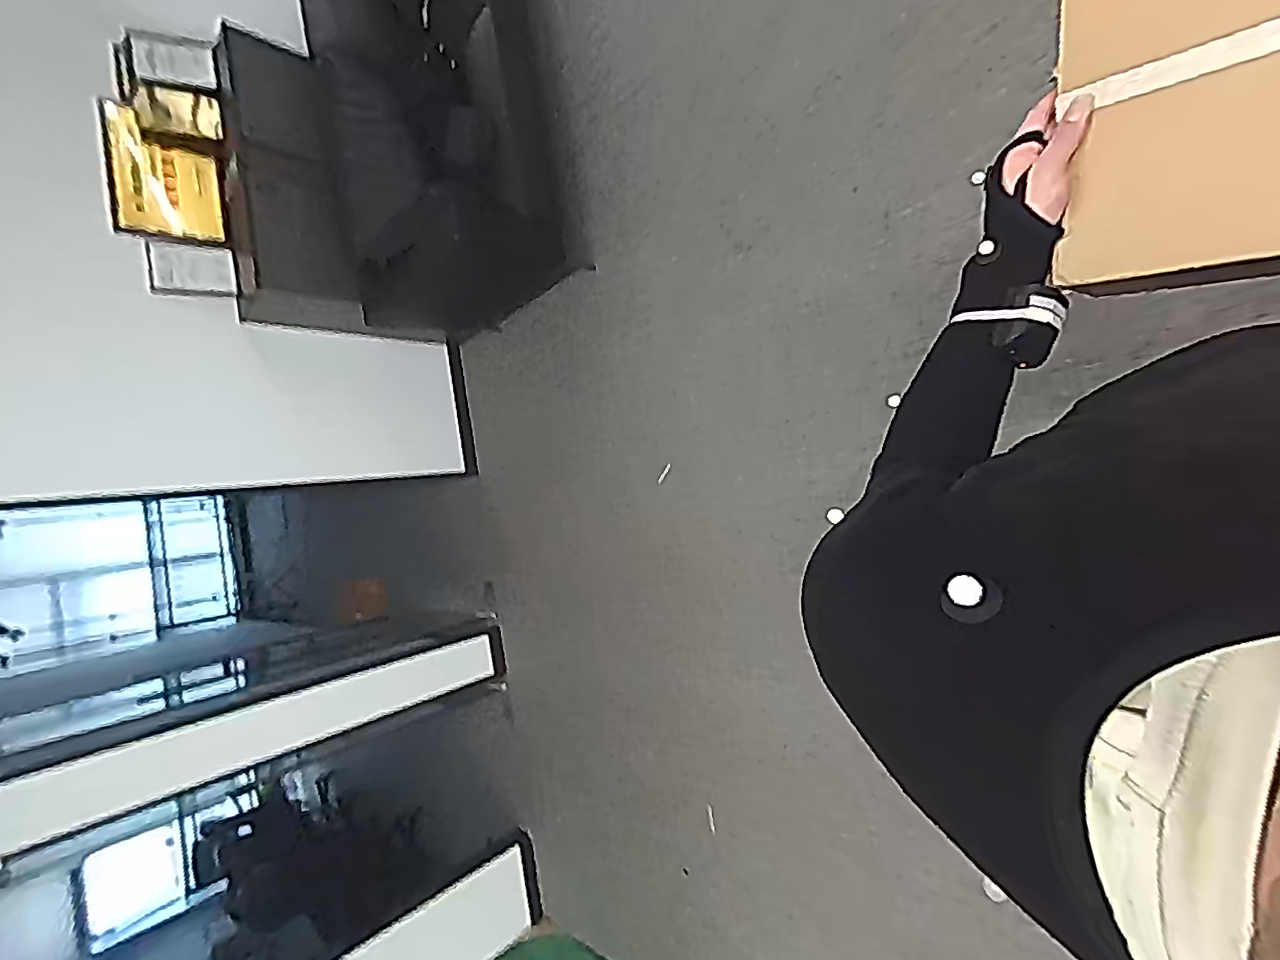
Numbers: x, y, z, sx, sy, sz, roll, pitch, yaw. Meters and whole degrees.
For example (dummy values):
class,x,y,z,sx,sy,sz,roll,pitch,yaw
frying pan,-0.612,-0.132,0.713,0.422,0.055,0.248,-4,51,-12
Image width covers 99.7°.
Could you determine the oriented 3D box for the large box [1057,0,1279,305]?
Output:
class,x,y,z,sx,sy,sz,roll,pitch,yaw
large box,0.632,-0.352,0.470,0.408,0.320,0.320,3,104,44
